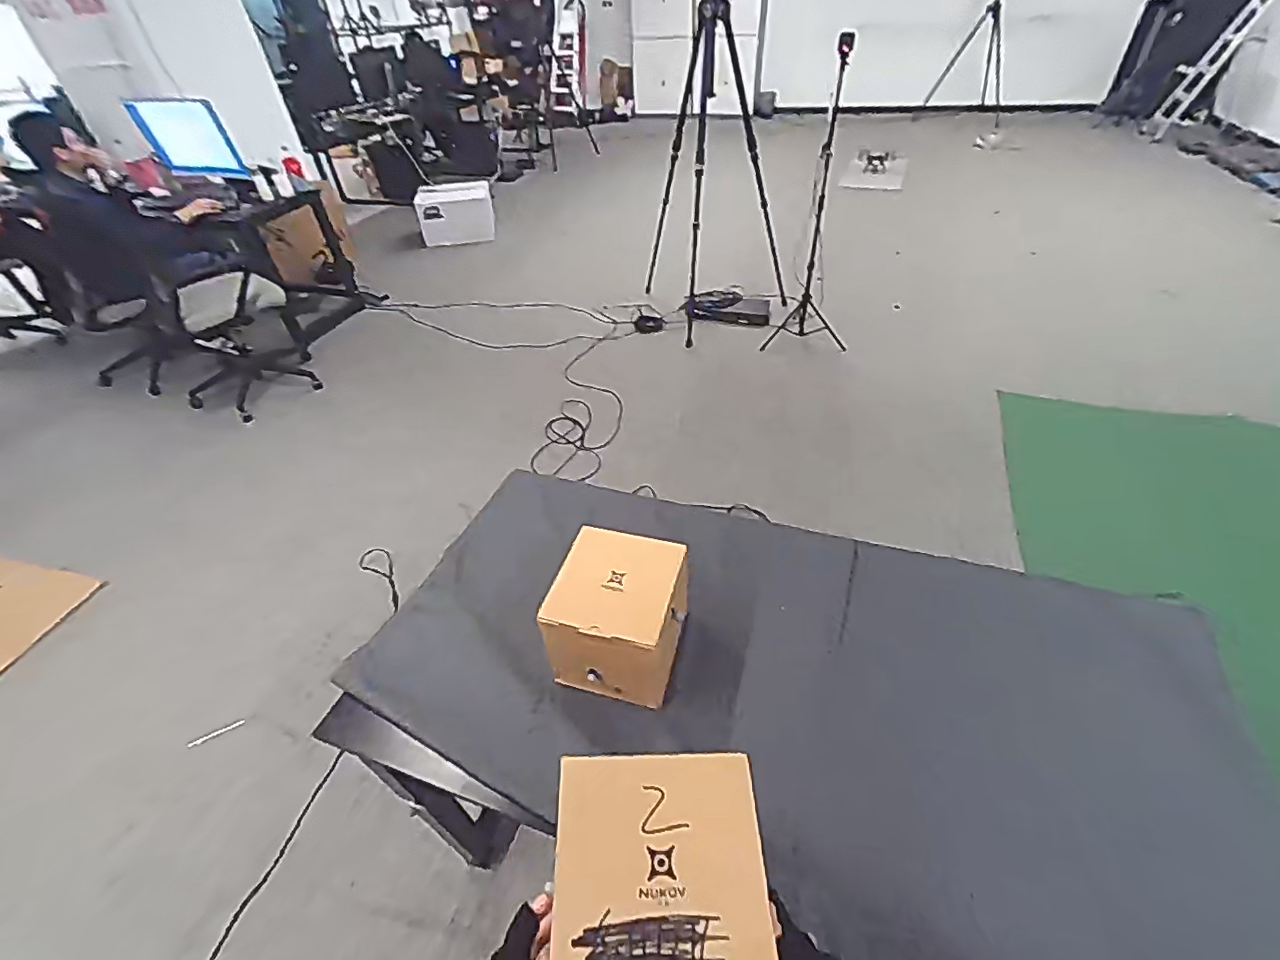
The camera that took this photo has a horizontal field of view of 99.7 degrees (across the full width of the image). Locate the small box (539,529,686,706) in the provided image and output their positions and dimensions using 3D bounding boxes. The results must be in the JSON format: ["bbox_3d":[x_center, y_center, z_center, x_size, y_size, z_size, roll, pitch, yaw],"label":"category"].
[{"bbox_3d":[-0.033,0.206,0.816,0.168,0.176,0.179,10,44,14],"label":"small box"}]
